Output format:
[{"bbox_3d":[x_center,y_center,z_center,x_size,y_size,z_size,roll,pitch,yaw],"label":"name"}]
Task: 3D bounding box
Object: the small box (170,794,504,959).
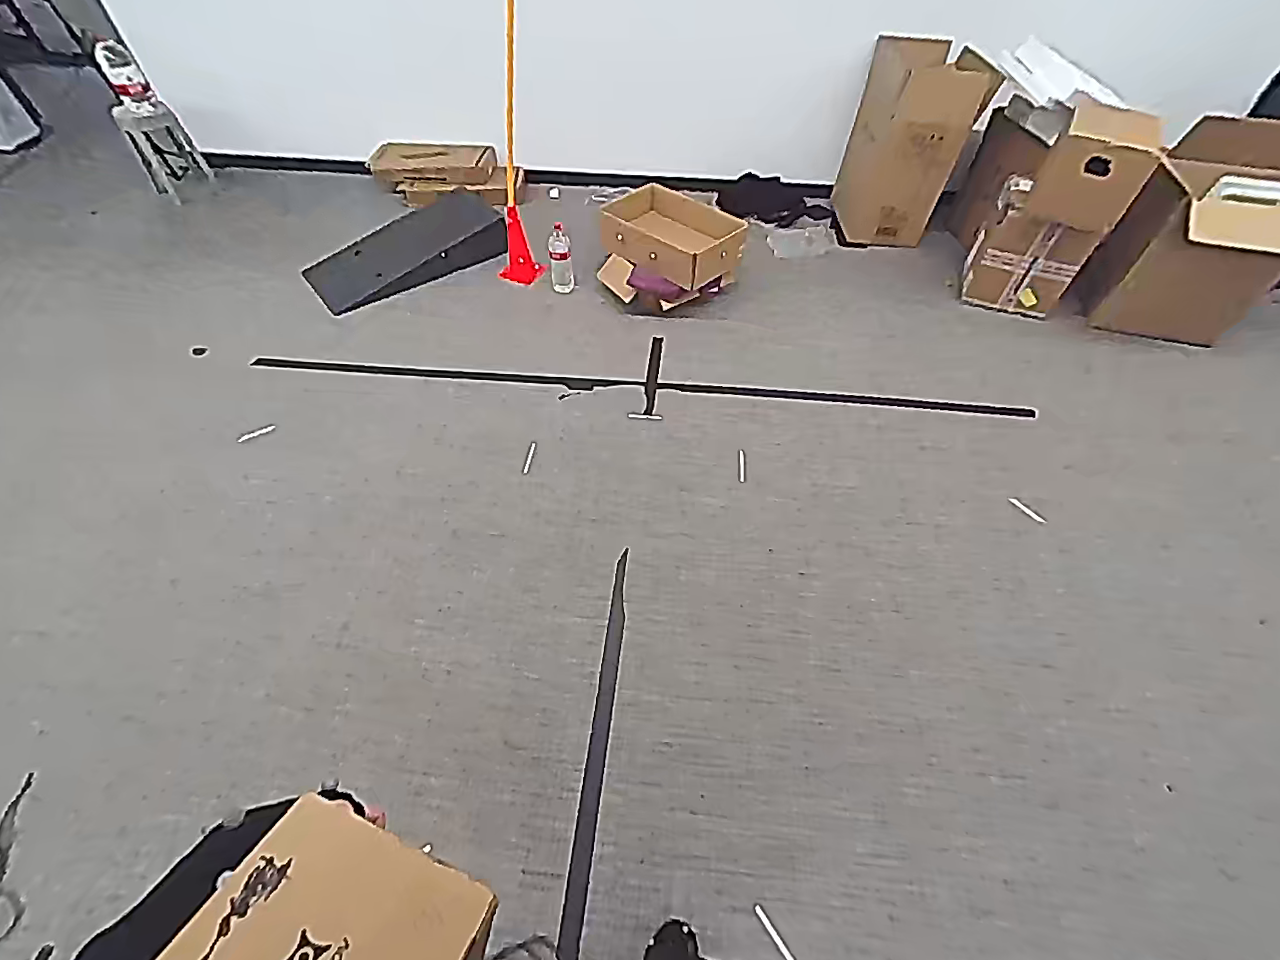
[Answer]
[{"bbox_3d":[-0.226,0.384,0.398,0.179,0.176,0.168,22,32,8],"label":"small box"}]
